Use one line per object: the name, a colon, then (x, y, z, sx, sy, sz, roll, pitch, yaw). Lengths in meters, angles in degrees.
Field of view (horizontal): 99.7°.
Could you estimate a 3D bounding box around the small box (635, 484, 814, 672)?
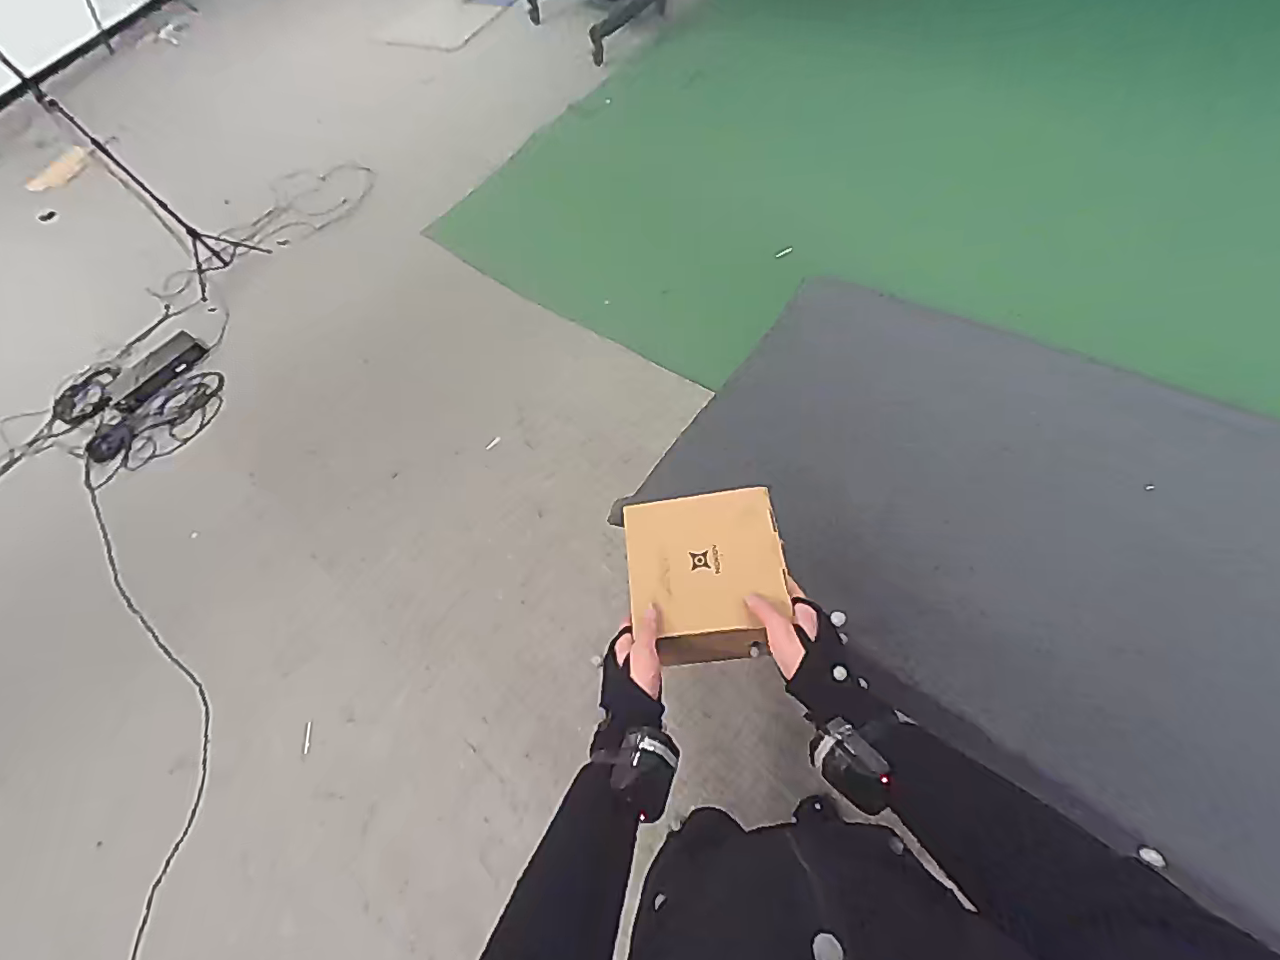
small box: (0.096, 0.127, 0.662, 0.179, 0.176, 0.168, -9, 57, 5)
